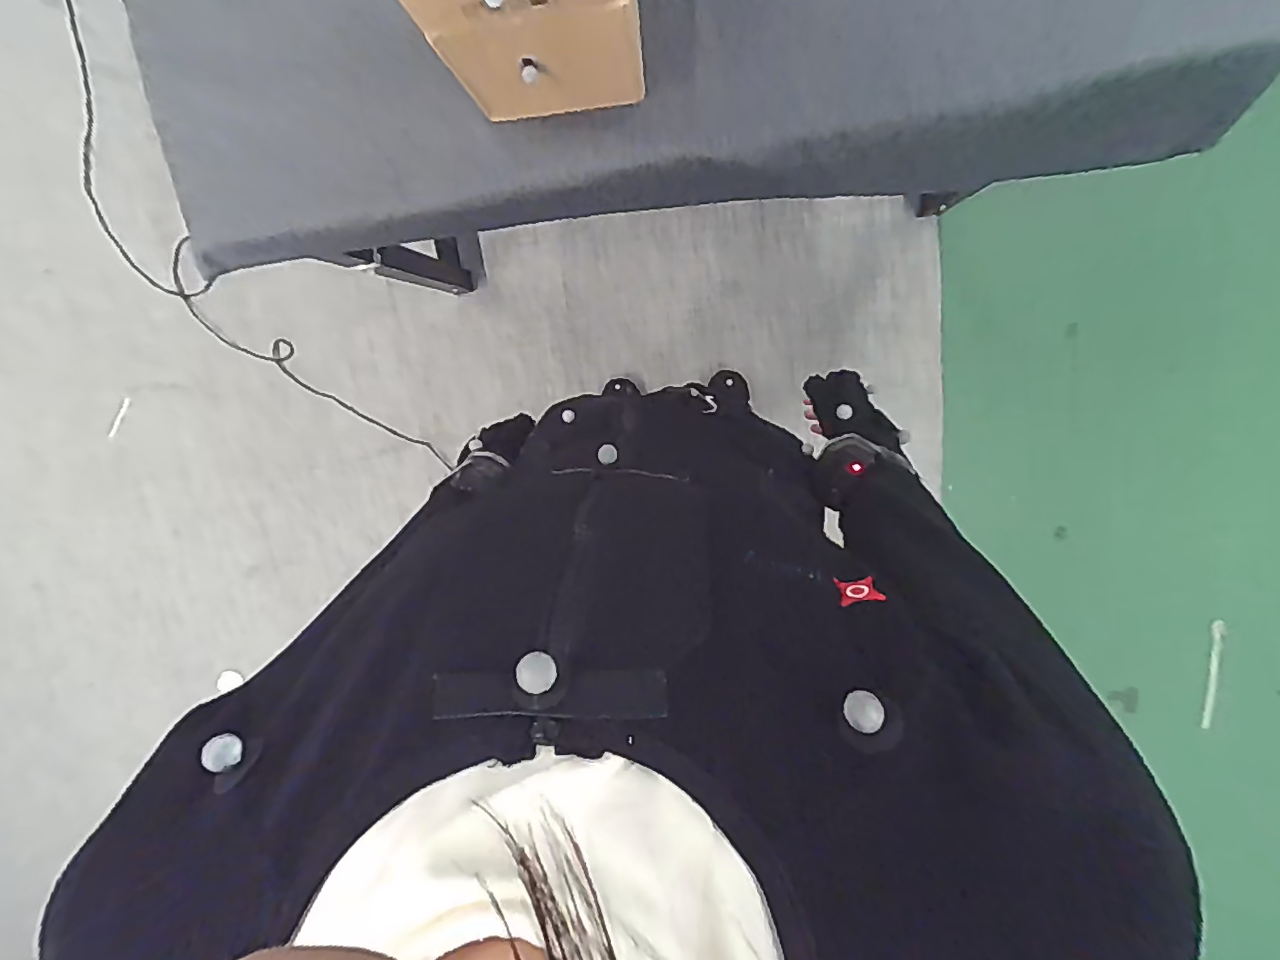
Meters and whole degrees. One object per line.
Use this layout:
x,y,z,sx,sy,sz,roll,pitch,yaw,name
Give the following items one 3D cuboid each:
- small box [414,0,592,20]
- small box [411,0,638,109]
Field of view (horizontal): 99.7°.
-0.116,-0.449,0.343,0.168,0.176,0.179,-3,102,5,small box
-0.100,-0.478,0.505,0.179,0.176,0.168,-3,102,5,small box
